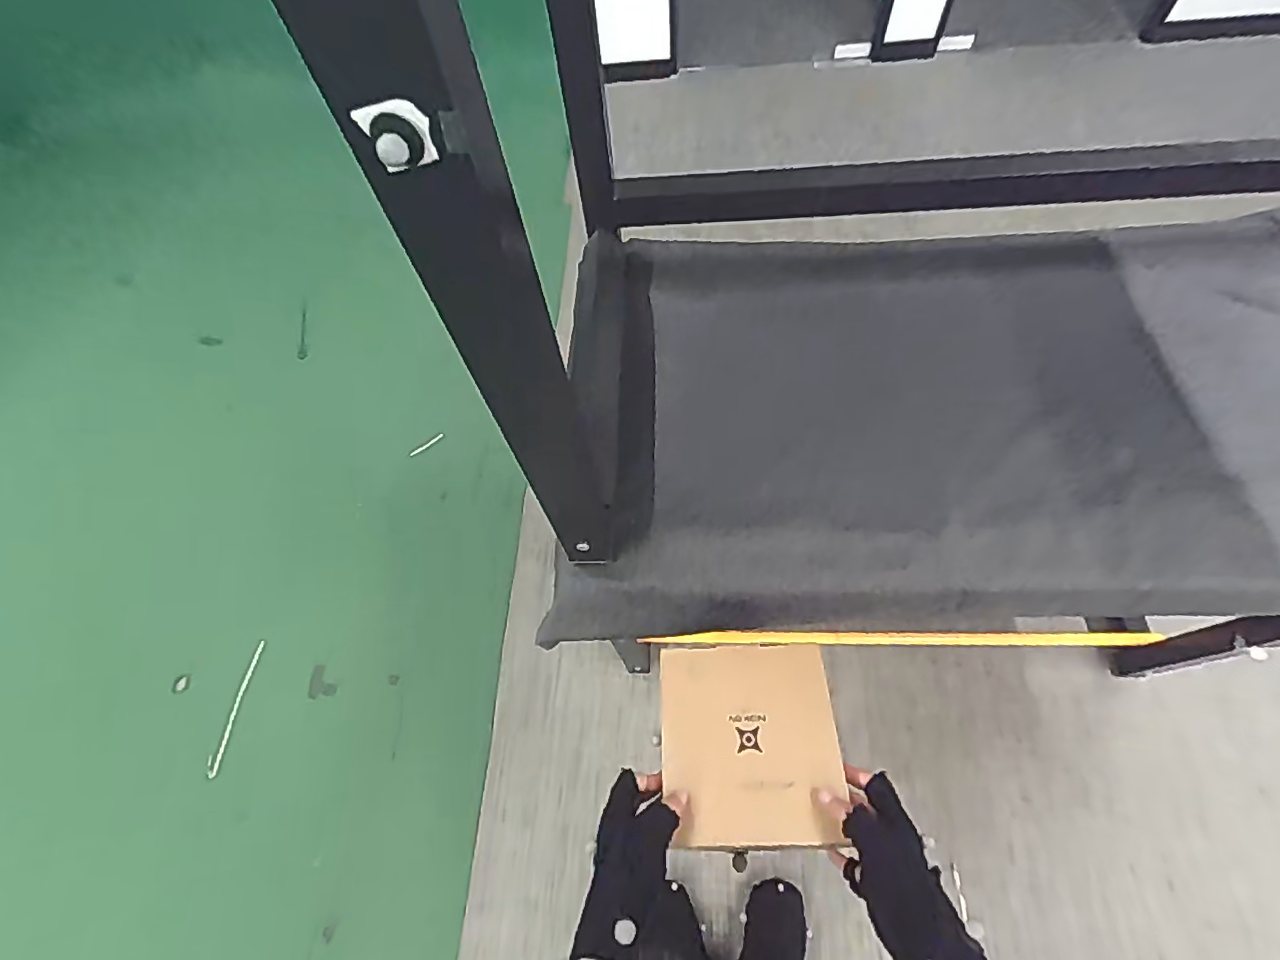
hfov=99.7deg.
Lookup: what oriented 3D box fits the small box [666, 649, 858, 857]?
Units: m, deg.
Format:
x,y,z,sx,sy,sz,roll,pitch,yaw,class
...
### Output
x,y,z,sx,sy,sz,roll,pitch,yaw,class
0.116,0.297,0.582,0.168,0.176,0.179,-5,54,6,small box
